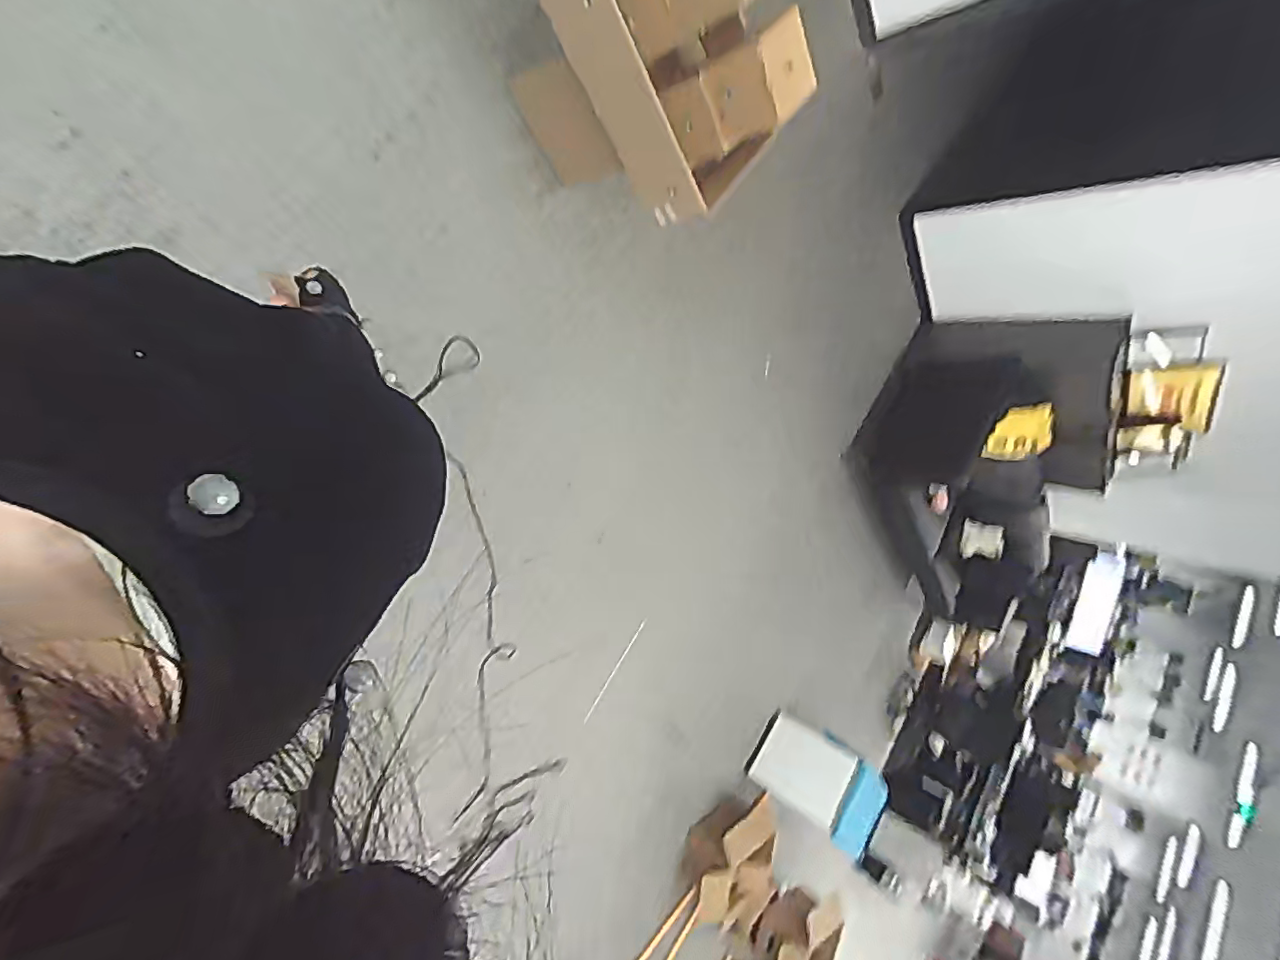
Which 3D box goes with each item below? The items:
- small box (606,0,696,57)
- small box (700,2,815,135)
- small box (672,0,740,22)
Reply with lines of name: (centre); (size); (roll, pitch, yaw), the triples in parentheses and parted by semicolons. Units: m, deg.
small box: (0.044, -1.102, 1.206); (0.168, 0.176, 0.179); (46, 70, -41)
small box: (0.269, -0.937, 1.243); (0.179, 0.176, 0.168); (-53, 131, -20)
small box: (0.152, -1.071, 1.087); (0.168, 0.176, 0.179); (-53, 131, -21)
